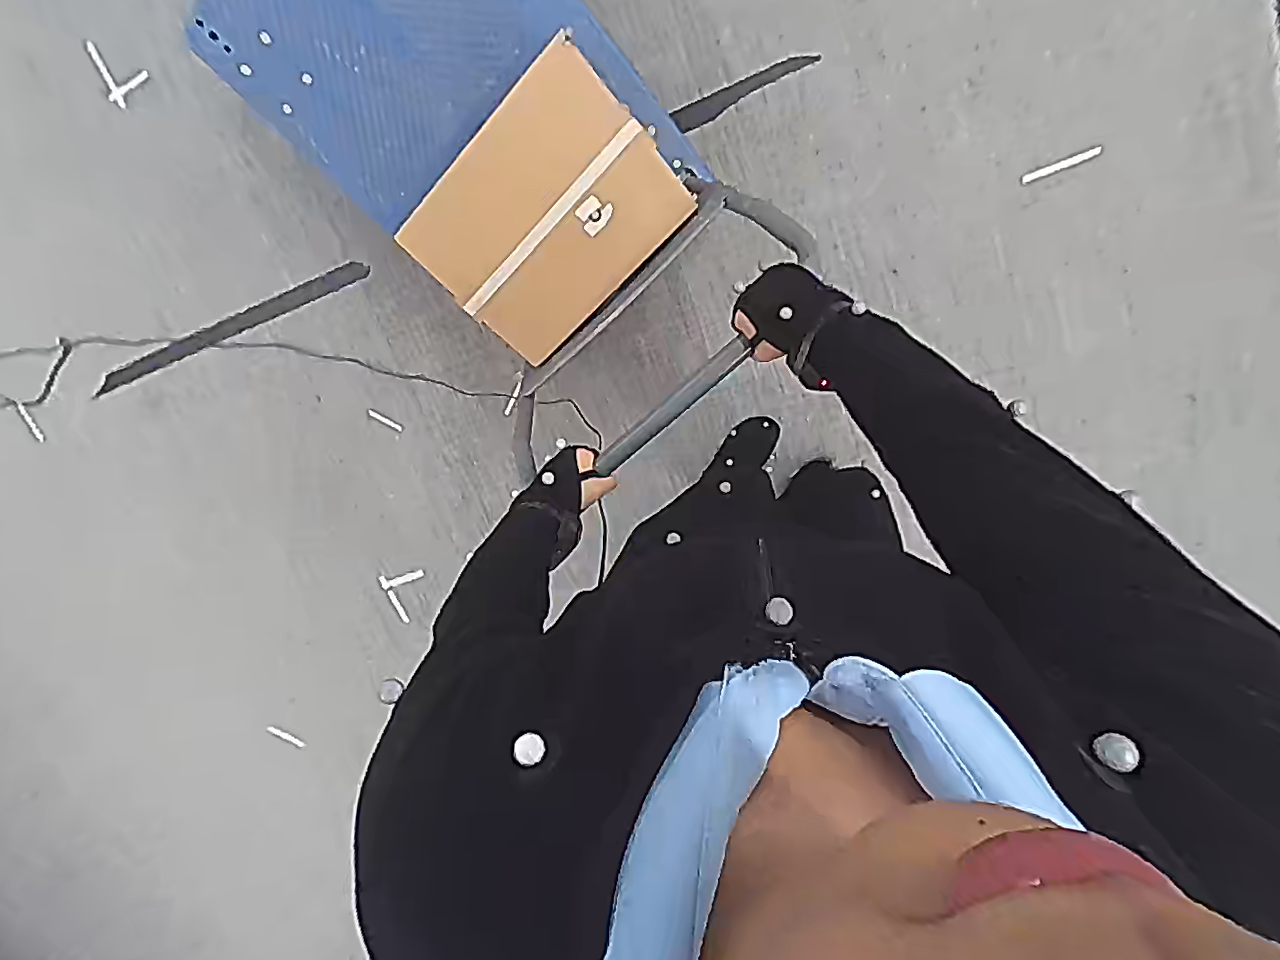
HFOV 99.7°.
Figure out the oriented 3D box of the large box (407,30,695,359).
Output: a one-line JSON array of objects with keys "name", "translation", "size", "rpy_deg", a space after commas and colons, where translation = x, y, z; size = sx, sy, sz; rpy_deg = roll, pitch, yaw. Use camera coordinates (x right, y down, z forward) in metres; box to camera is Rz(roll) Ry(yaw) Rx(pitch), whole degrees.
[{"name": "large box", "translation": [-0.162, -0.514, 1.035], "size": [0.408, 0.320, 0.320], "rpy_deg": [-41, 116, 16]}]
